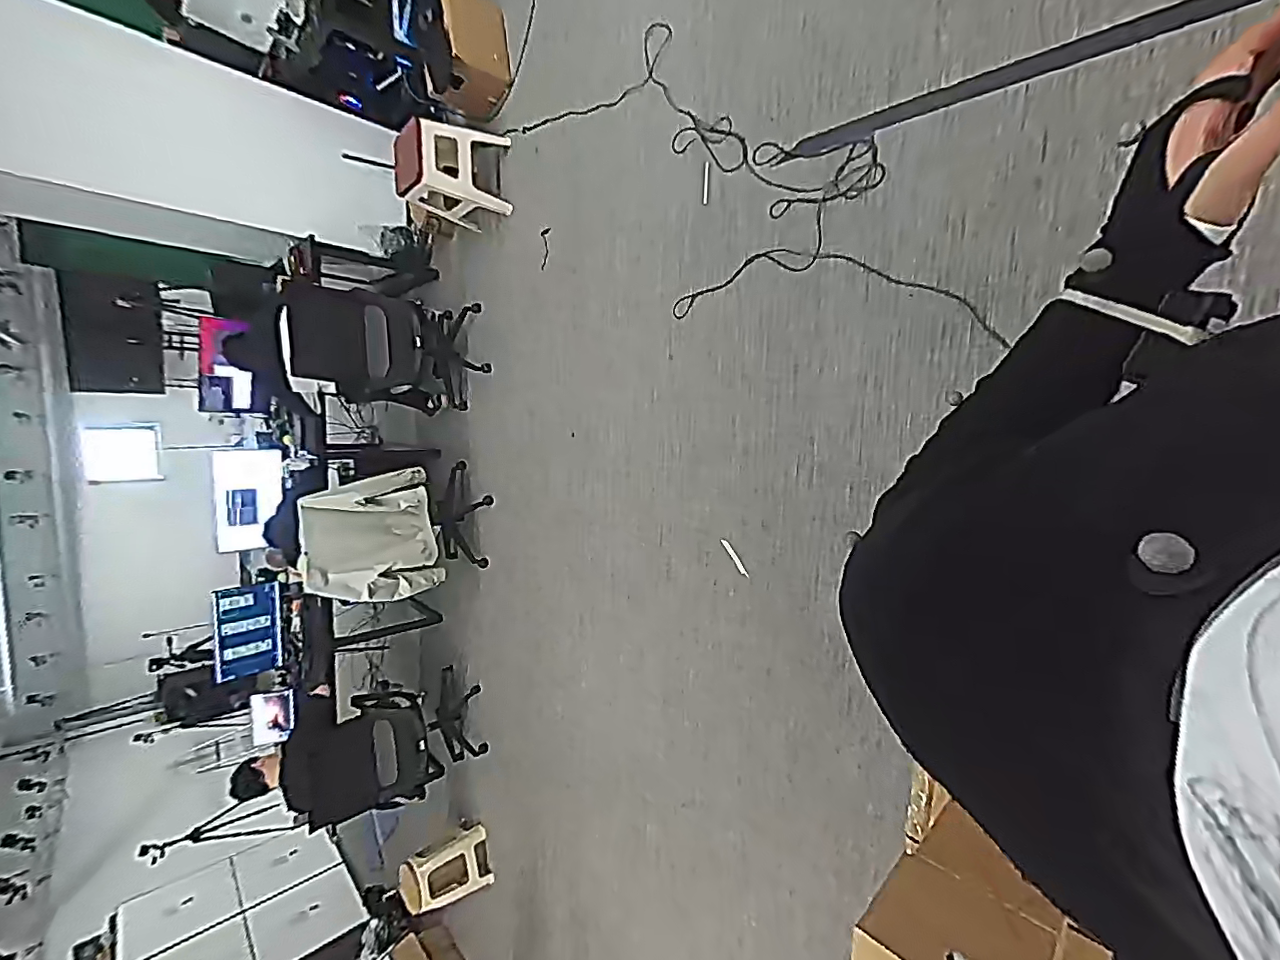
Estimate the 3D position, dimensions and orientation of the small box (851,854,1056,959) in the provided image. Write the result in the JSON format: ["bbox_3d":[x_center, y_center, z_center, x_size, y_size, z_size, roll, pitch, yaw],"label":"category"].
[{"bbox_3d":[0.367,0.599,0.642,0.179,0.176,0.168,10,100,45],"label":"small box"}]

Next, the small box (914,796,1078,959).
[{"bbox_3d":[0.488,0.593,0.754,0.168,0.176,0.179,10,99,44],"label":"small box"}]
